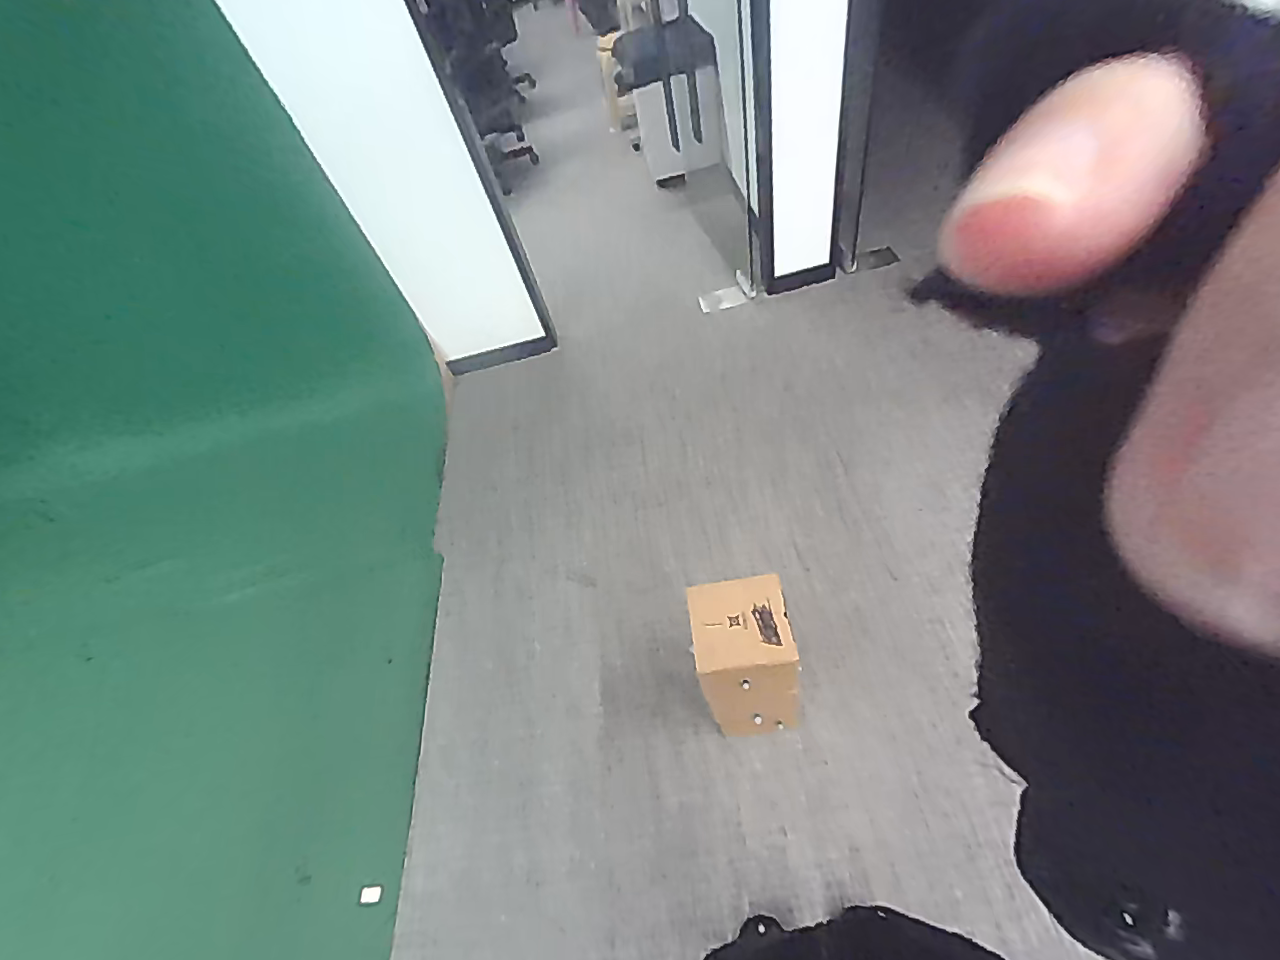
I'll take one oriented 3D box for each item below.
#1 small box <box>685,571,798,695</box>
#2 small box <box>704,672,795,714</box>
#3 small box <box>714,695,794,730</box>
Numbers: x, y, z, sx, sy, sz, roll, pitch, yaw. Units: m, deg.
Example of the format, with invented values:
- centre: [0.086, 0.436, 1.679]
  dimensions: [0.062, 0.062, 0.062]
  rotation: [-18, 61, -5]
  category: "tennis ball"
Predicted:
- centre: [0.189, 0.294, 1.030]
  dimensions: [0.179, 0.176, 0.168]
  rotation: [-11, 52, 5]
  category: "small box"
- centre: [0.225, 0.392, 1.157]
  dimensions: [0.179, 0.176, 0.168]
  rotation: [-8, 52, 8]
  category: "small box"
- centre: [0.259, 0.484, 1.289]
  dimensions: [0.179, 0.176, 0.168]
  rotation: [-12, 51, 7]
  category: "small box"
